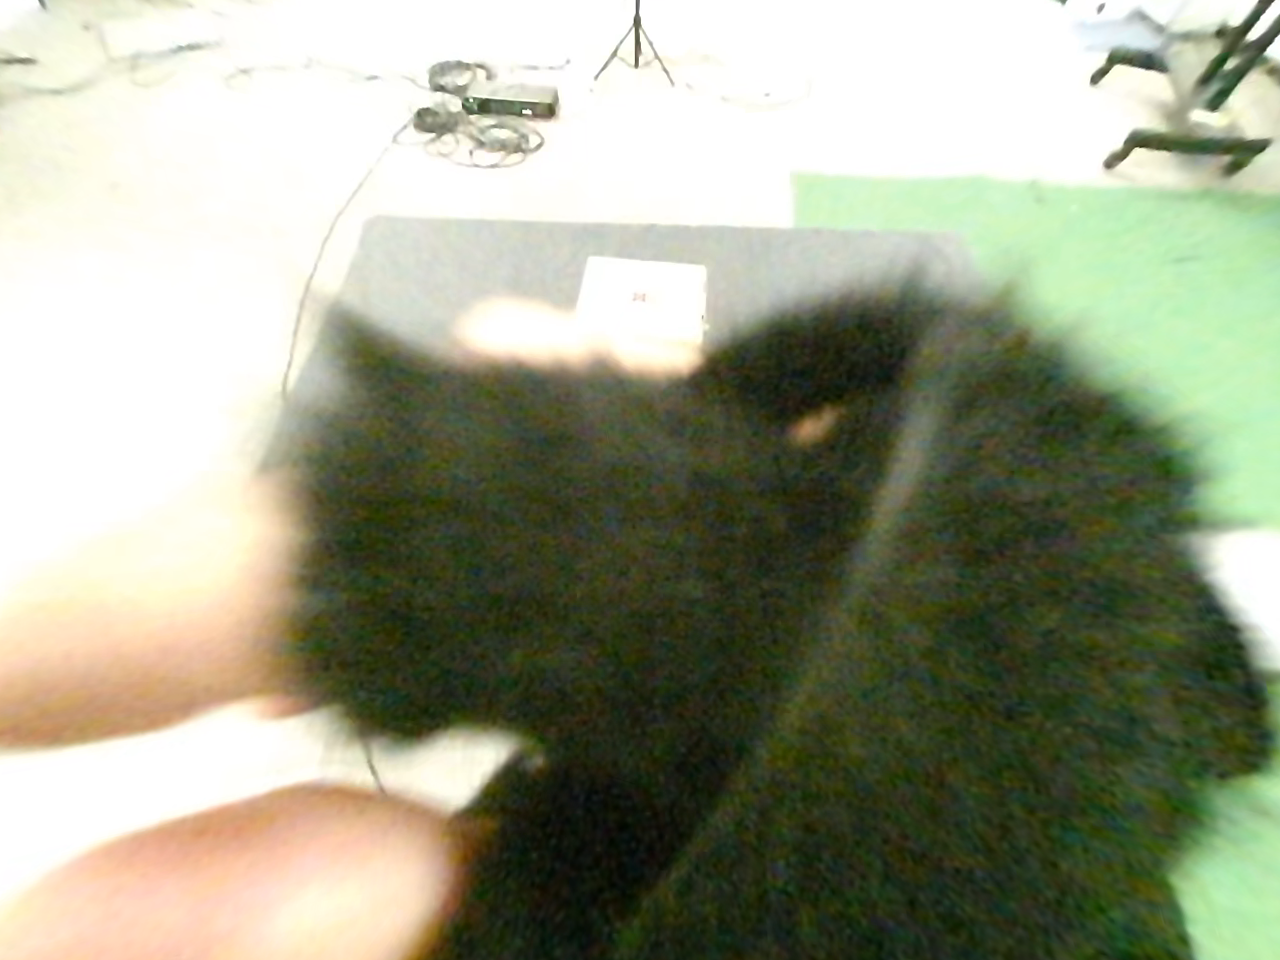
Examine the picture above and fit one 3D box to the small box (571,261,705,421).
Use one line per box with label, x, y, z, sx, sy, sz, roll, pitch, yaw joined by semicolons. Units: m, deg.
small box;0.001;-0.206;0.823;0.179;0.176;0.168;4;56;3
